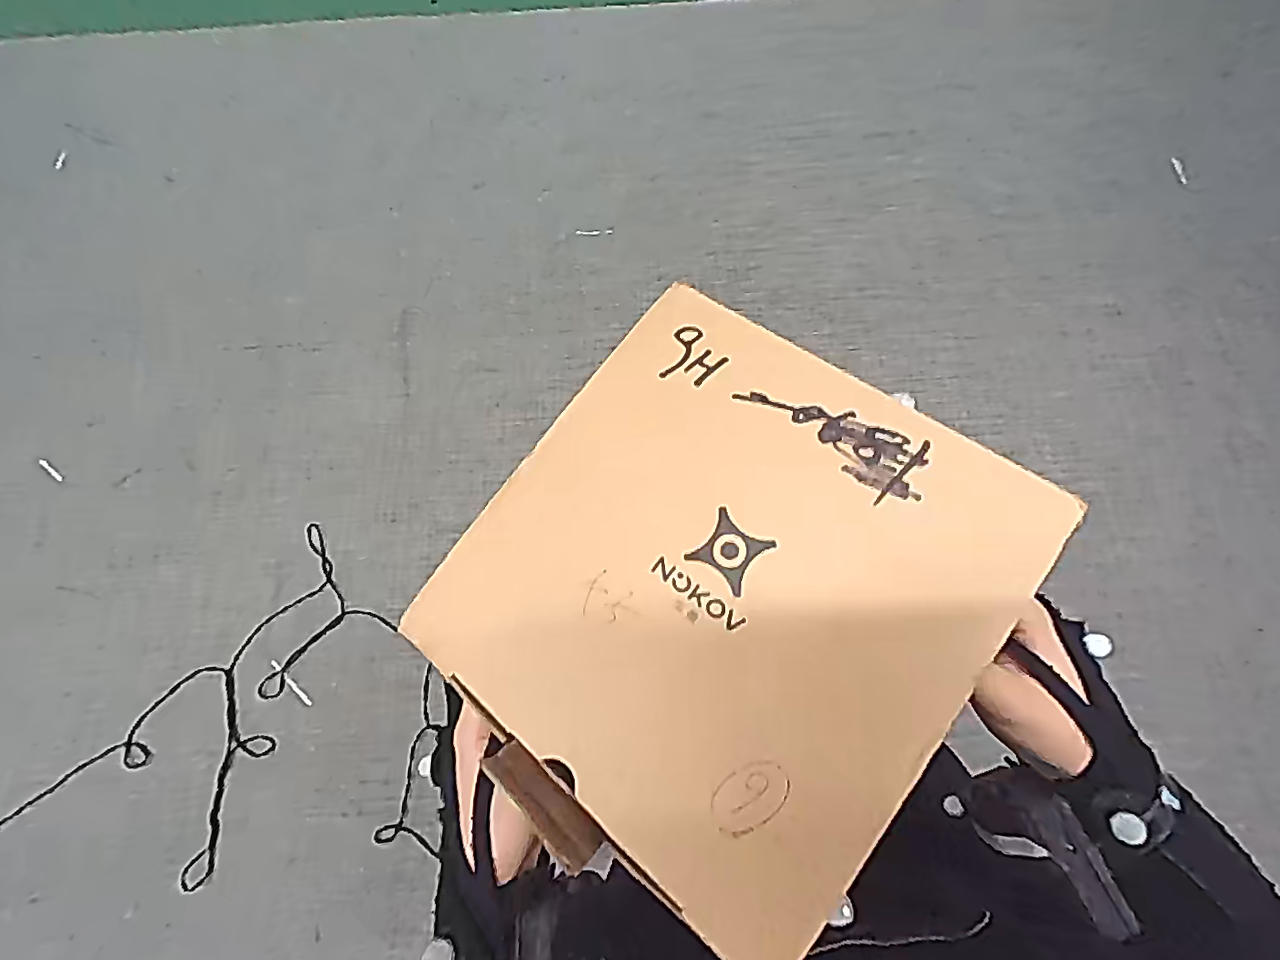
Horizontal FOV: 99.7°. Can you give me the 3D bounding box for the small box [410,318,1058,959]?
[{"bbox_3d":[0.039,0.066,0.266,0.168,0.176,0.179,36,83,19],"label":"small box"}]
